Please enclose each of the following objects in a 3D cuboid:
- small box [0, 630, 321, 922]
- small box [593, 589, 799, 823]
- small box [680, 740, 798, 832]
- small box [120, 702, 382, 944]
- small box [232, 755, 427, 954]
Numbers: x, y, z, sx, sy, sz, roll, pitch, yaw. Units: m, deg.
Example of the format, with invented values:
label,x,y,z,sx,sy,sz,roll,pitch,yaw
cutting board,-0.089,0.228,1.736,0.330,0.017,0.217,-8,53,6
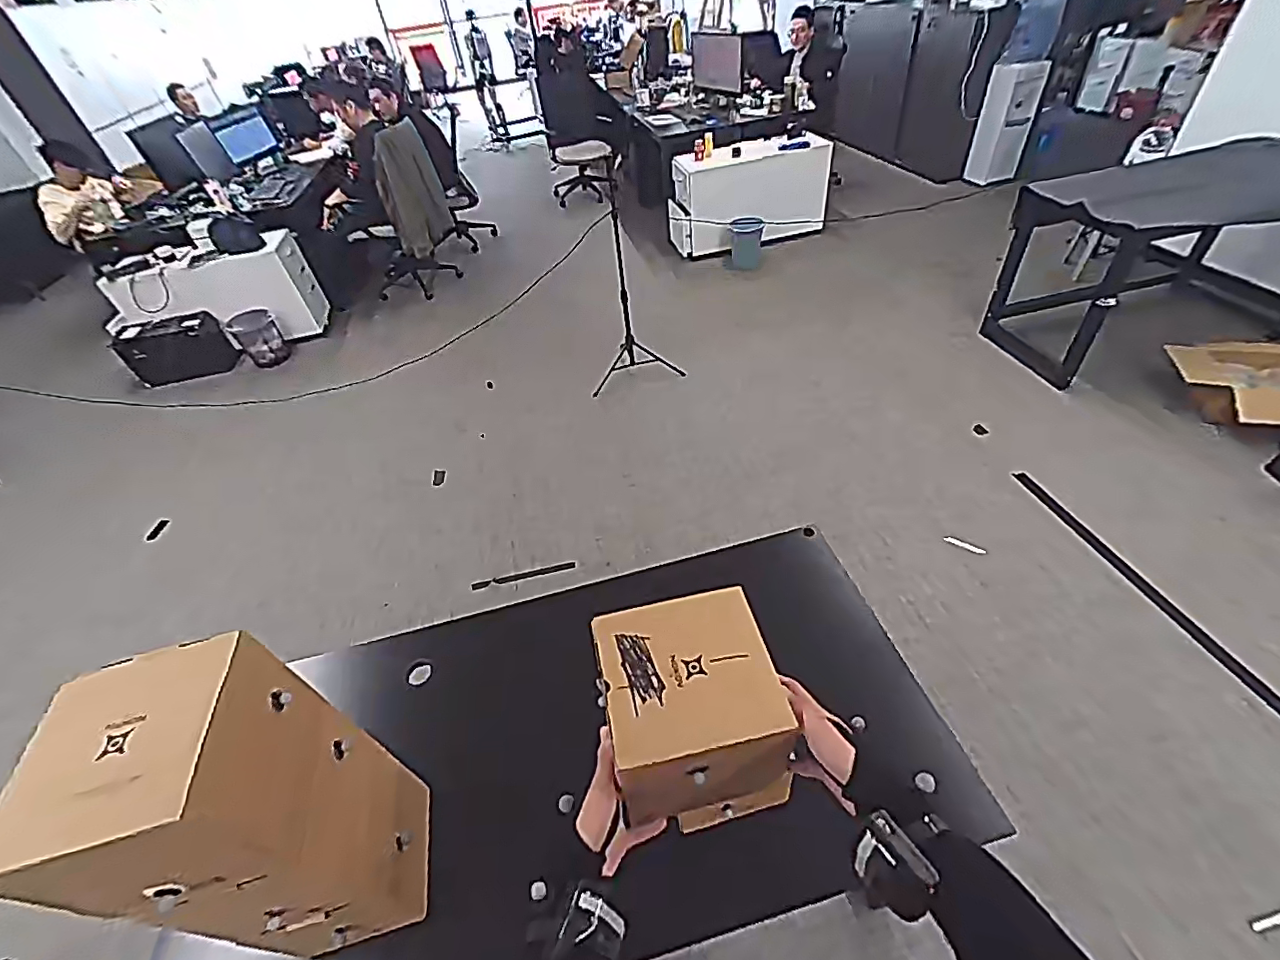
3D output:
label,x,y,z,sx,sy,sz,roll,pitch,yaw
small box,-0.436,0.280,0.516,0.168,0.176,0.179,-16,45,-6
small box,0.054,0.250,0.596,0.179,0.176,0.168,-11,44,-6
small box,0.114,0.384,0.800,0.168,0.176,0.179,-14,44,-6
small box,-0.421,0.396,0.628,0.168,0.176,0.179,-15,44,-6
small box,-0.403,0.516,0.741,0.168,0.176,0.179,-15,44,-7
